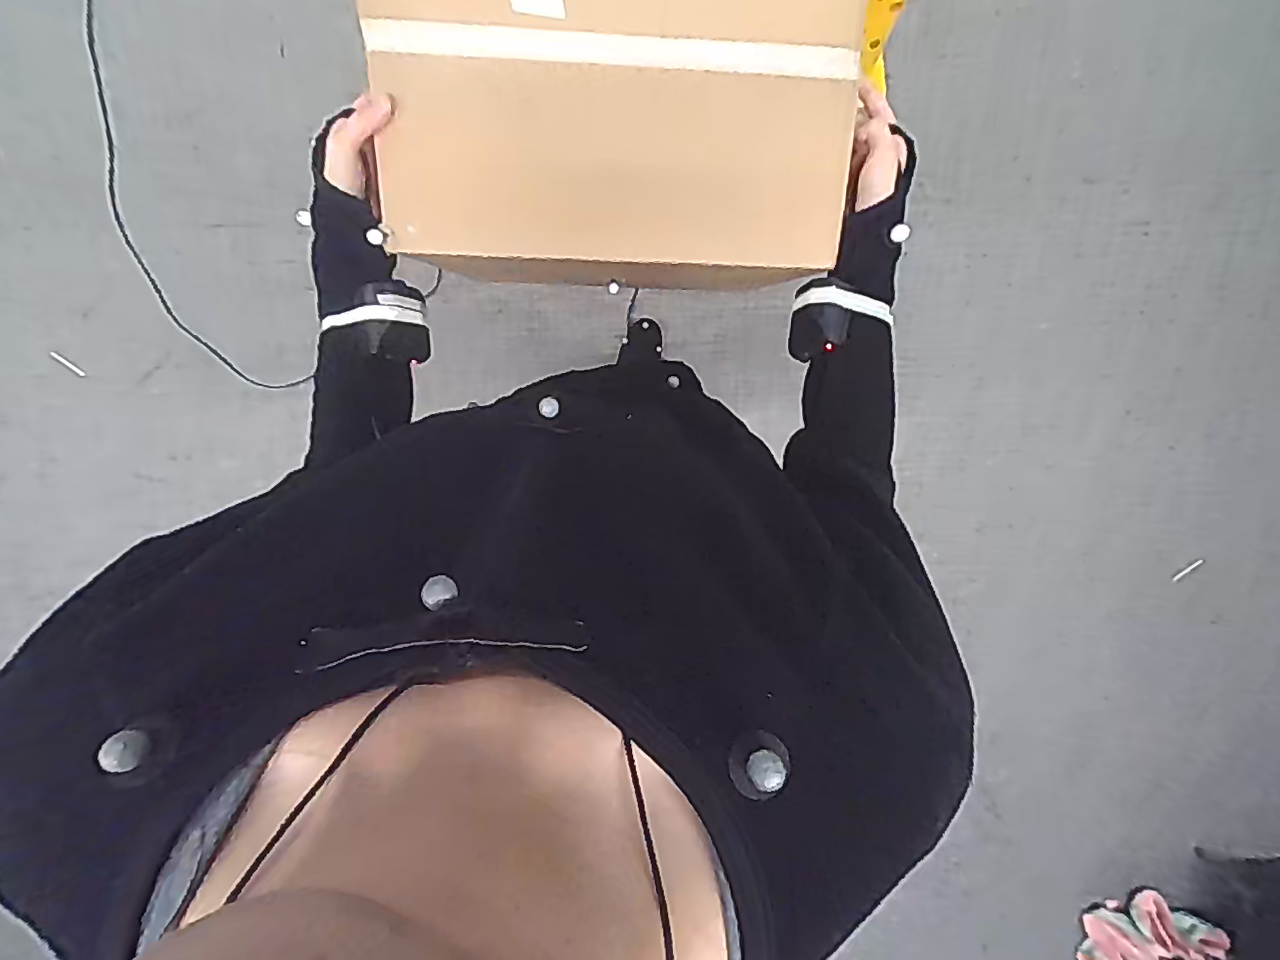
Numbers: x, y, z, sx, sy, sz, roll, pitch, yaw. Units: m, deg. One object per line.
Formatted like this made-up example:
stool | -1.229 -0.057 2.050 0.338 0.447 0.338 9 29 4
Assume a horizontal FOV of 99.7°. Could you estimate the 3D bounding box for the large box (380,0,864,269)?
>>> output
large box | -0.018 -0.406 0.592 0.408 0.320 0.320 0 106 -3
